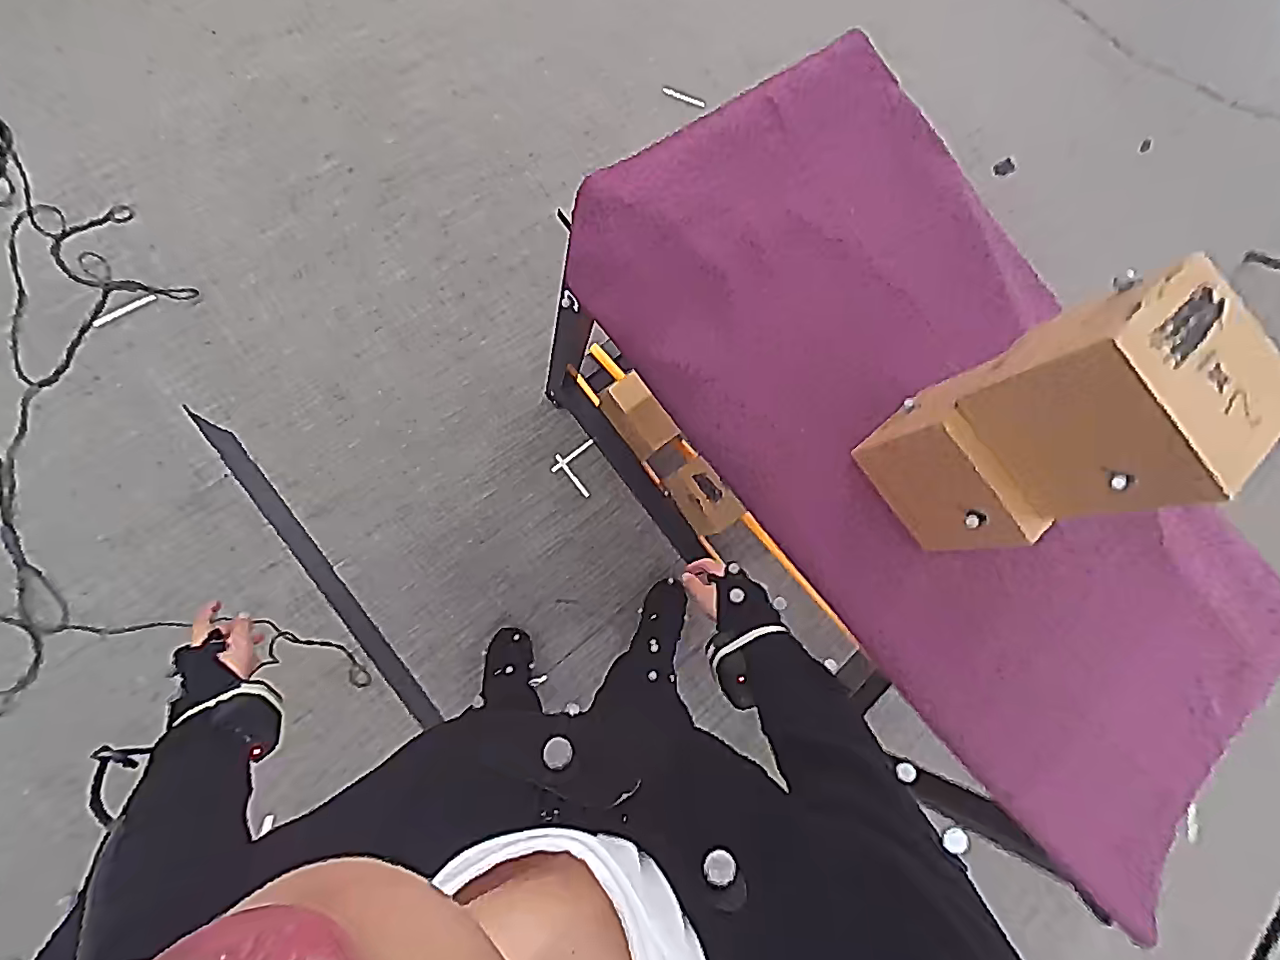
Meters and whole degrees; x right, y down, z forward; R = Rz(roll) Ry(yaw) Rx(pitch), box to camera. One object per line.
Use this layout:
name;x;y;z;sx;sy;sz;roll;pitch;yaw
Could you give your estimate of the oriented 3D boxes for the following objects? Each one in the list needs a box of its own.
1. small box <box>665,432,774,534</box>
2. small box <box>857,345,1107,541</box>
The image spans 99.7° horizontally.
small box;0.177;0.016;1.277;0.179;0.176;0.168;-32;89;-16
small box;0.427;-0.035;0.698;0.168;0.176;0.179;-37;90;-18
